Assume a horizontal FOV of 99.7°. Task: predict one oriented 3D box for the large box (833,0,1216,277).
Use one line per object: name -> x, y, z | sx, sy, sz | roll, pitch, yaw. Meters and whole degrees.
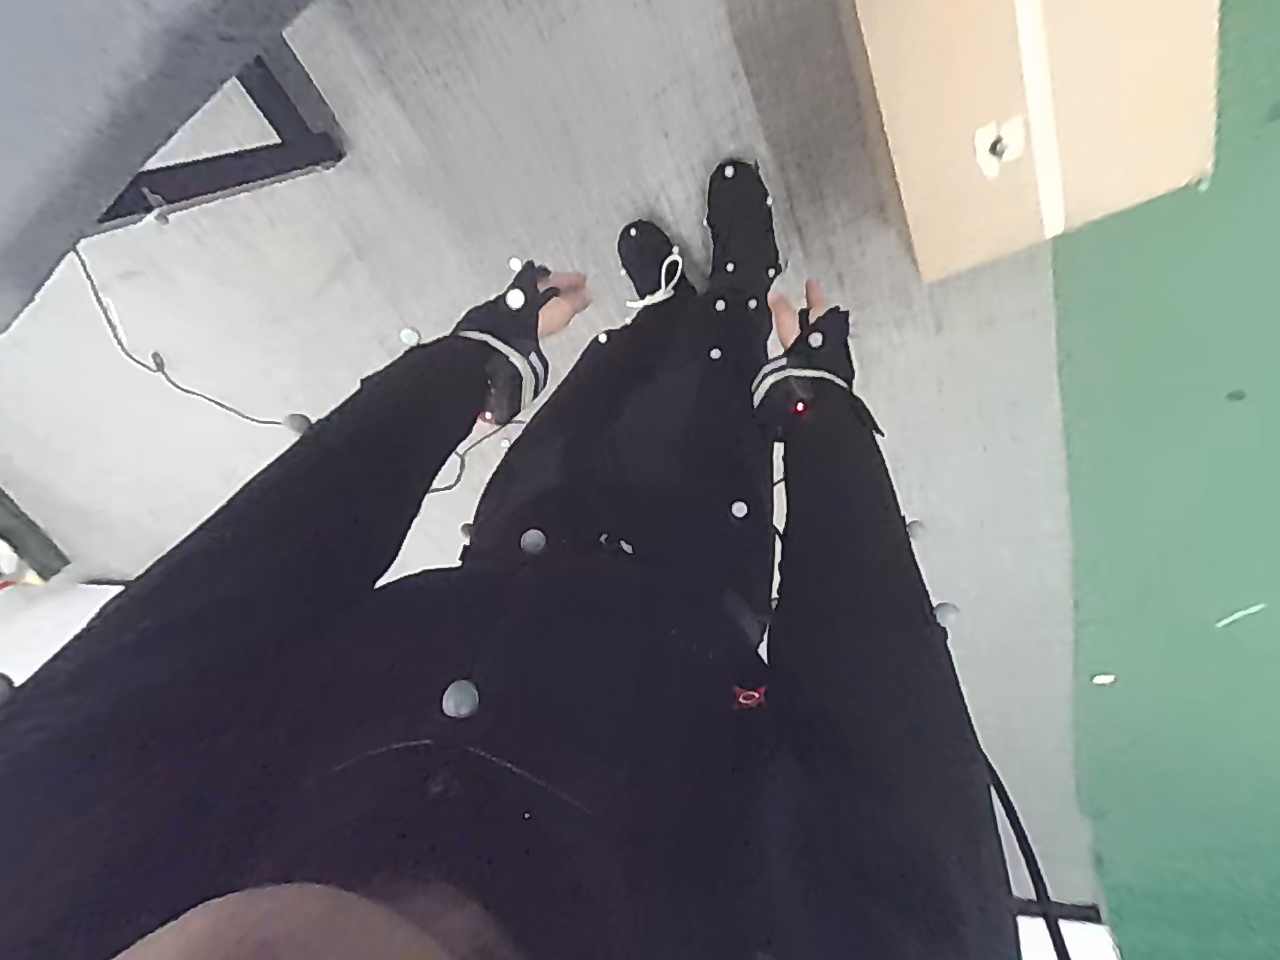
large box -> 0.475, -0.564, 0.721 | 0.320, 0.320, 0.408 | -17, 122, 27
